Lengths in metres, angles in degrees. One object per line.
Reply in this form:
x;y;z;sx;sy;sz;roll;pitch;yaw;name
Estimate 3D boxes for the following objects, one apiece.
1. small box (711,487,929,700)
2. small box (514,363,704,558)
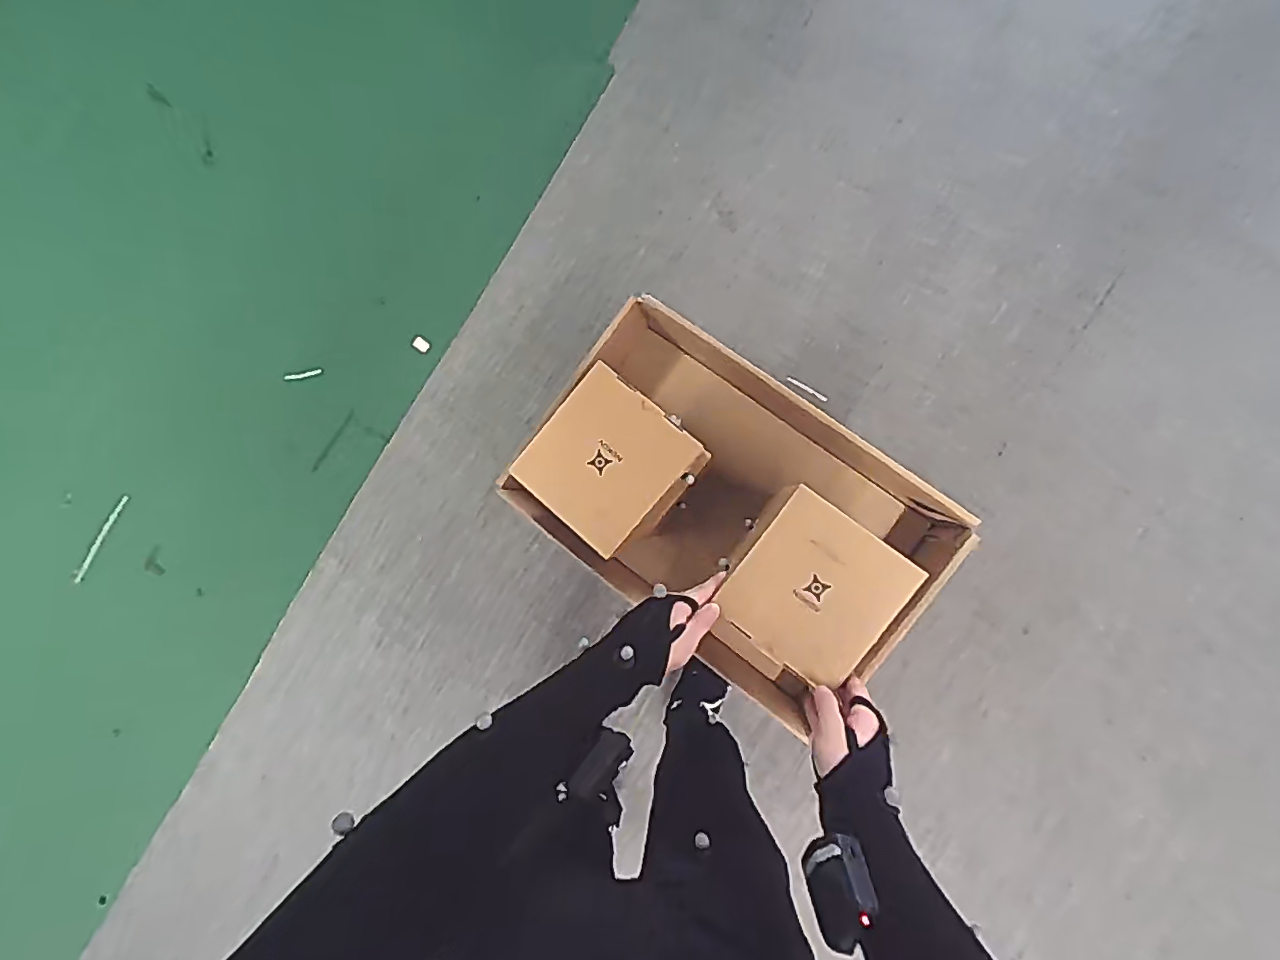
0.207;0.127;0.668;0.168;0.176;0.179;38;93;8;small box
-0.027;-0.019;0.716;0.168;0.176;0.179;41;94;9;small box
